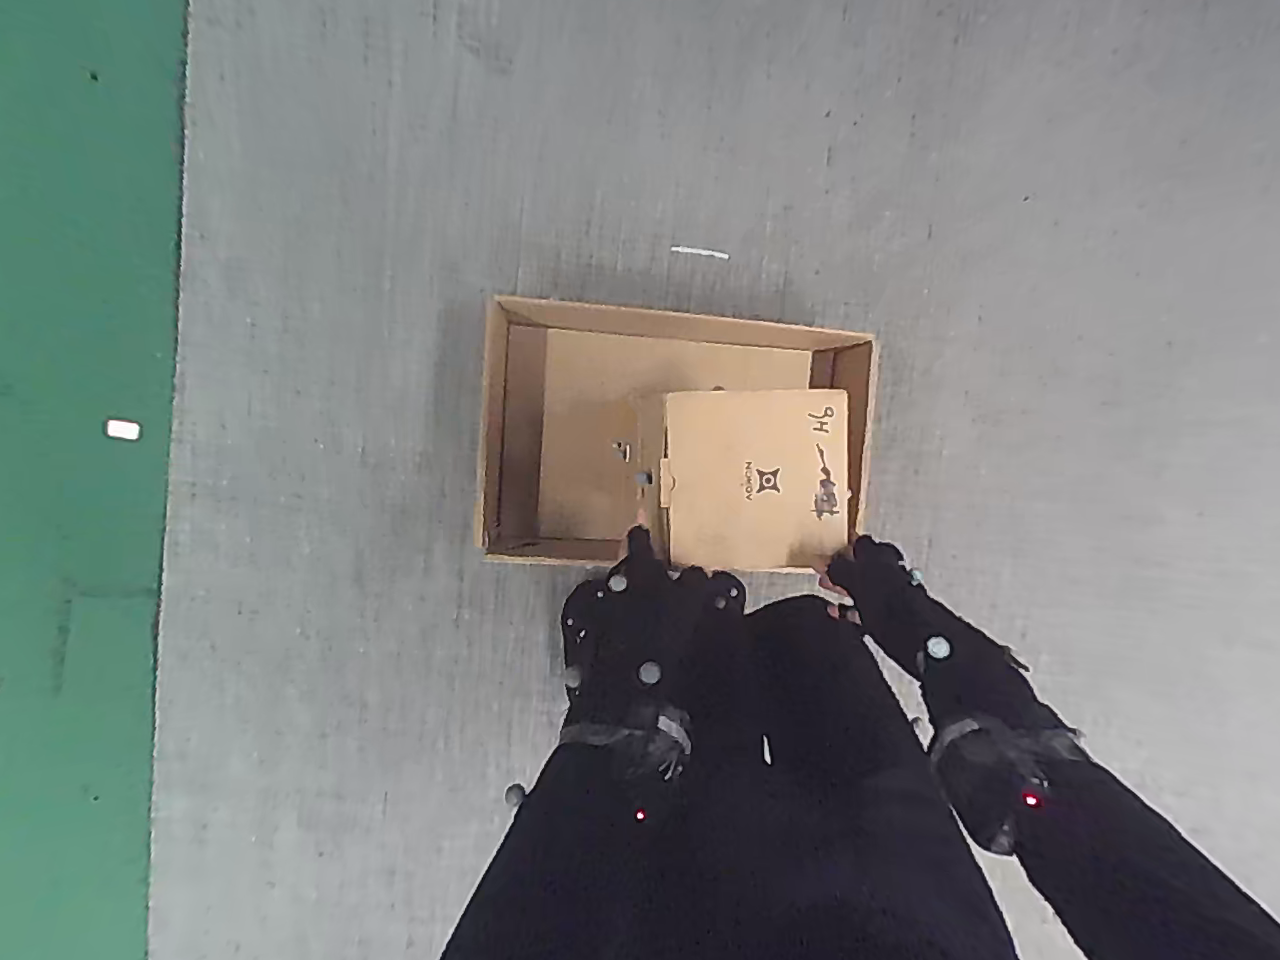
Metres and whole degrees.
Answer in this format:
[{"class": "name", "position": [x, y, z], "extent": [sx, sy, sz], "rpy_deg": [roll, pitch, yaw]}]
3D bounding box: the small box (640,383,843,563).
[{"class": "small box", "position": [0.095, -0.008, 0.587], "extent": [0.179, 0.176, 0.168], "rpy_deg": [-4, 92, -9]}]

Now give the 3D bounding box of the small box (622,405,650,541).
[{"class": "small box", "position": [0.074, -0.017, 0.731], "extent": [0.179, 0.176, 0.168], "rpy_deg": [-3, 94, -8]}]
